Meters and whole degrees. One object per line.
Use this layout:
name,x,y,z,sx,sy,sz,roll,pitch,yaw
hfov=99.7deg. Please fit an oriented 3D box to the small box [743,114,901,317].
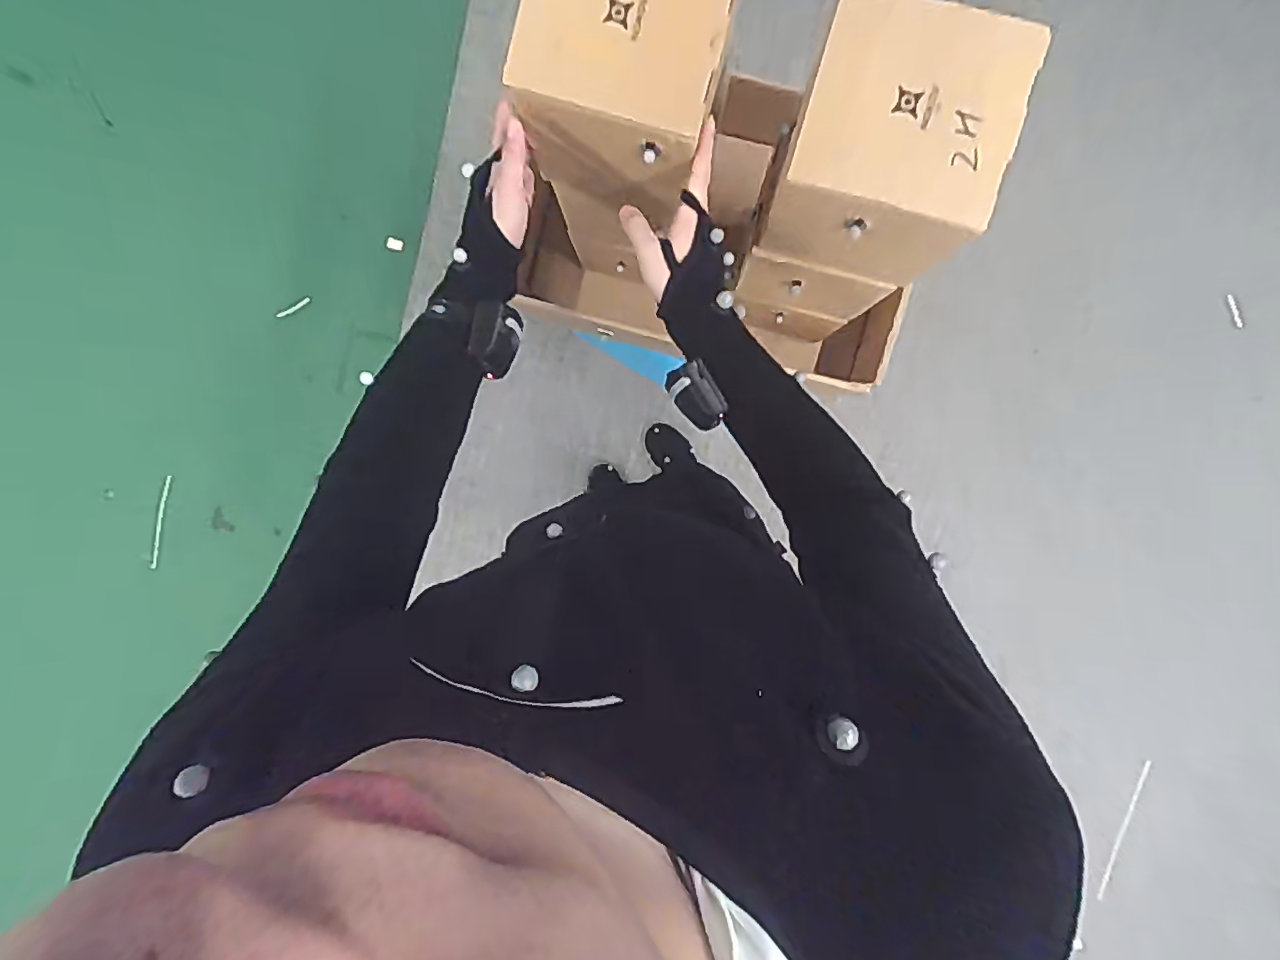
small box,0.238,-0.321,0.692,0.179,0.176,0.168,15,96,4

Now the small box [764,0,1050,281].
small box,0.233,-0.313,0.527,0.179,0.176,0.168,17,96,3
